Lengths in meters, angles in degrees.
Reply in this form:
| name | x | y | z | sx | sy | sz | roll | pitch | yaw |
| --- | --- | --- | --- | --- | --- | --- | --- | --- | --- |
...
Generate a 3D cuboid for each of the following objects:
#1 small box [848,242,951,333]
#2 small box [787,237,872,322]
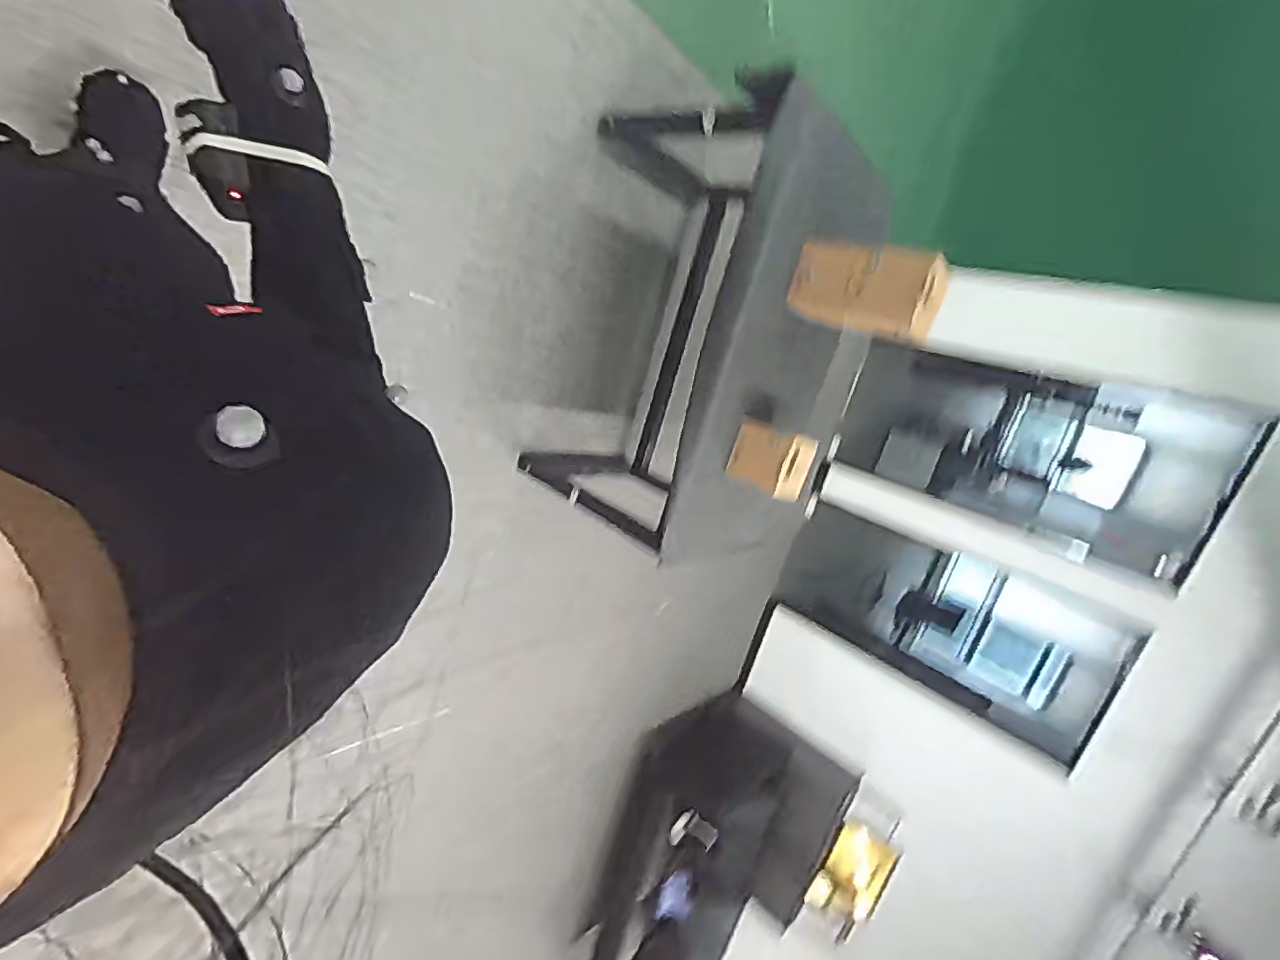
| name | x | y | z | sx | sy | sz | roll | pitch | yaw |
| --- | --- | --- | --- | --- | --- | --- | --- | --- | --- |
| small box | 0.645 | -0.482 | 1.353 | 0.179 | 0.176 | 0.168 | 2 | 110 | -52 |
| small box | 0.524 | -0.539 | 1.448 | 0.179 | 0.176 | 0.168 | 0 | 111 | -50 |
